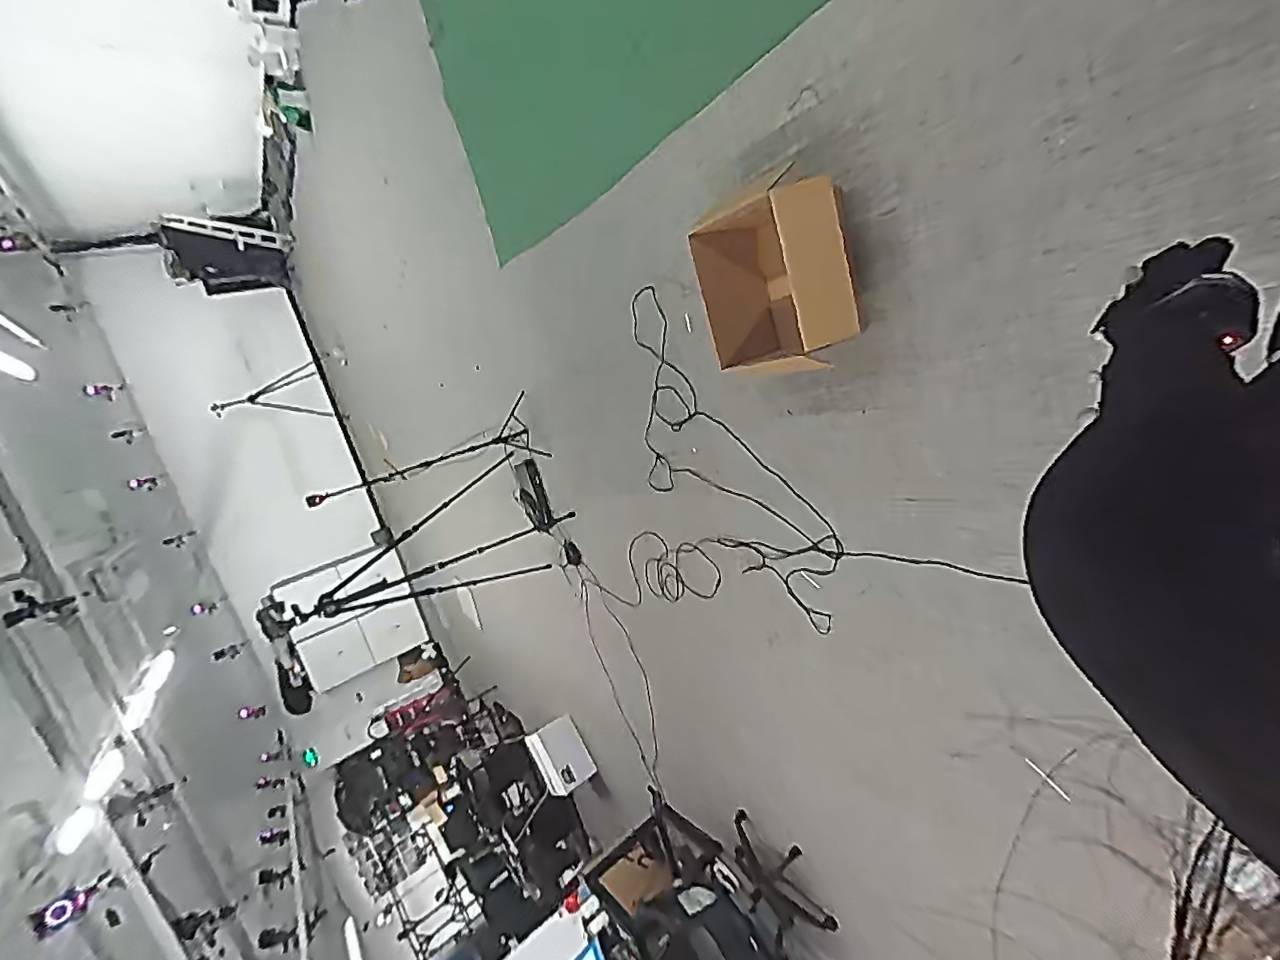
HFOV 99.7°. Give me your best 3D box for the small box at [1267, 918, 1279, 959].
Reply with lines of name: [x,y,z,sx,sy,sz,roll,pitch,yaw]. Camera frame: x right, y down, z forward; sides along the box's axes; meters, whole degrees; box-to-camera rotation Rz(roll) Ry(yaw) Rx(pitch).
small box: [1.499,1.098,1.164,0.179,0.176,0.168,-4,106,54]
